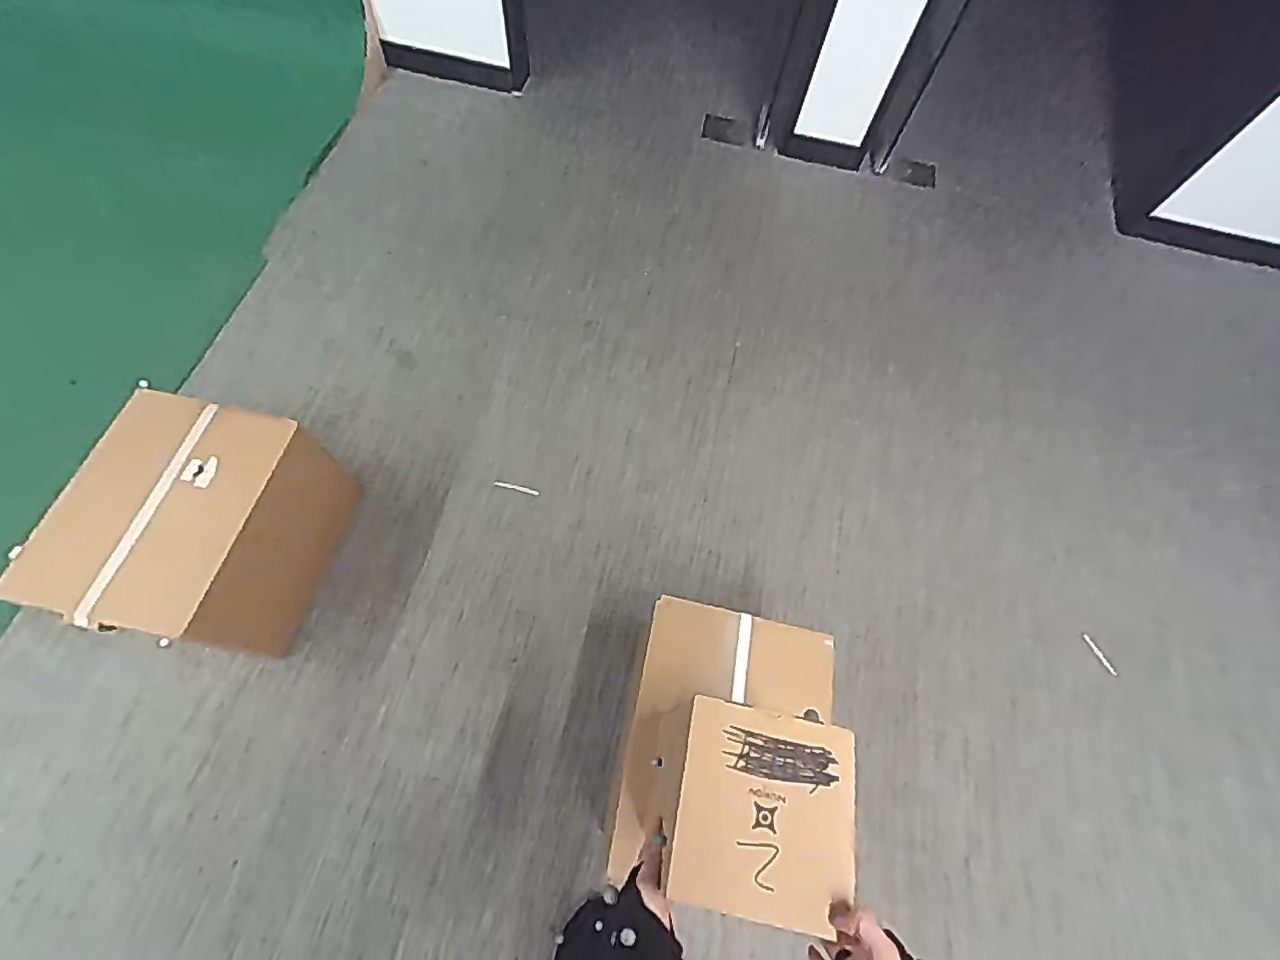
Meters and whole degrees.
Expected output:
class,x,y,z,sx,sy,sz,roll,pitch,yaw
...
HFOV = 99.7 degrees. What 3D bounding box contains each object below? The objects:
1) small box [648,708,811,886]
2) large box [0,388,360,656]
class,x,y,z,sx,sy,sz,roll,pitch,yaw
small box,0.114,0.414,0.735,0.179,0.176,0.168,12,66,2
large box,-0.826,0.095,1.052,0.320,0.320,0.408,13,65,1
